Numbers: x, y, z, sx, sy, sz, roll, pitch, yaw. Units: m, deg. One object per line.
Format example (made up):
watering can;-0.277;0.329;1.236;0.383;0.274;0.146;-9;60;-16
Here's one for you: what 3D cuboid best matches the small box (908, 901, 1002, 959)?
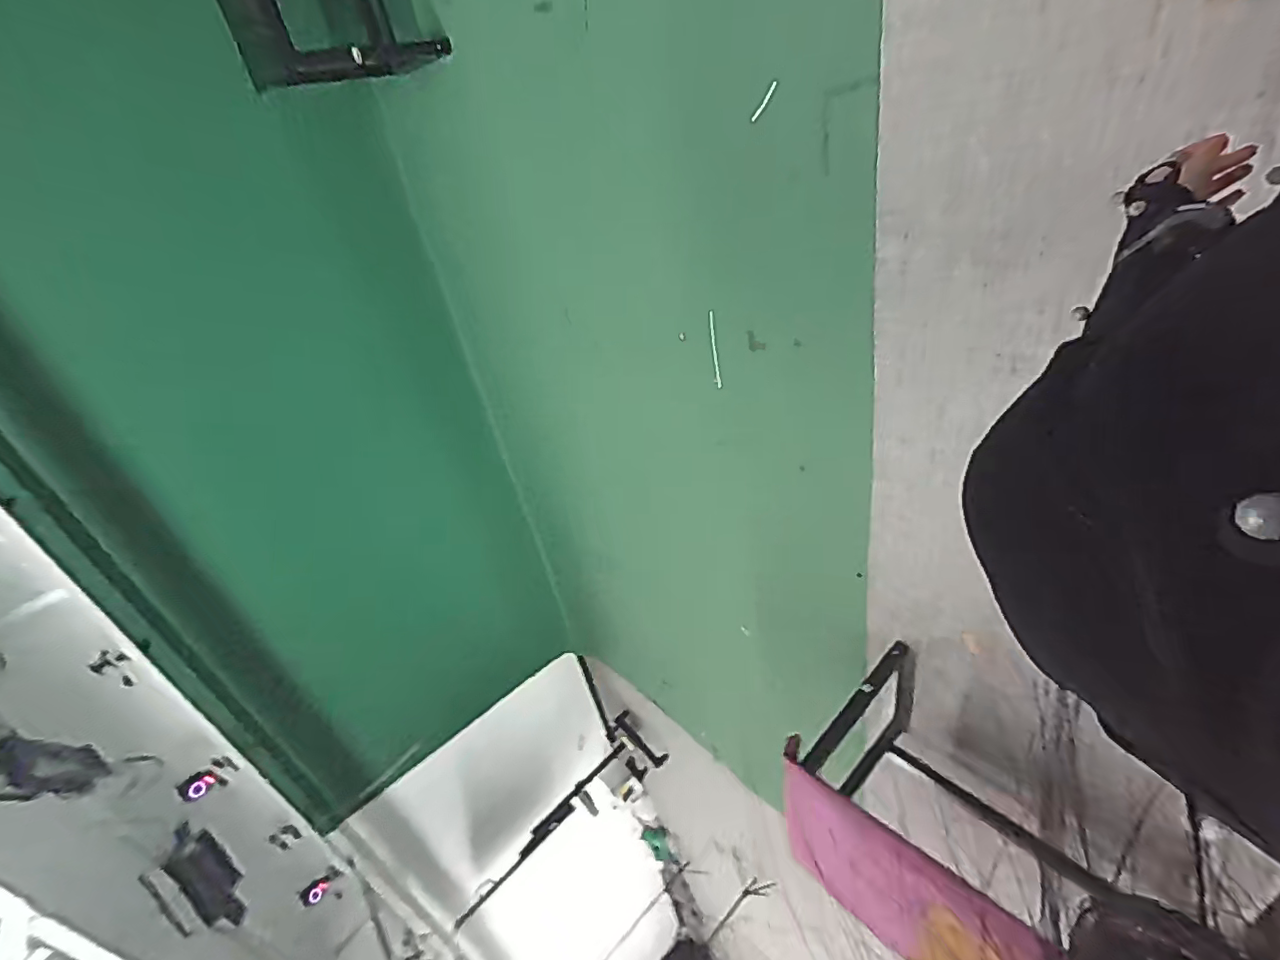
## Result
small box;0.819;1.261;1.412;0.168;0.176;0.179;21;136;45
